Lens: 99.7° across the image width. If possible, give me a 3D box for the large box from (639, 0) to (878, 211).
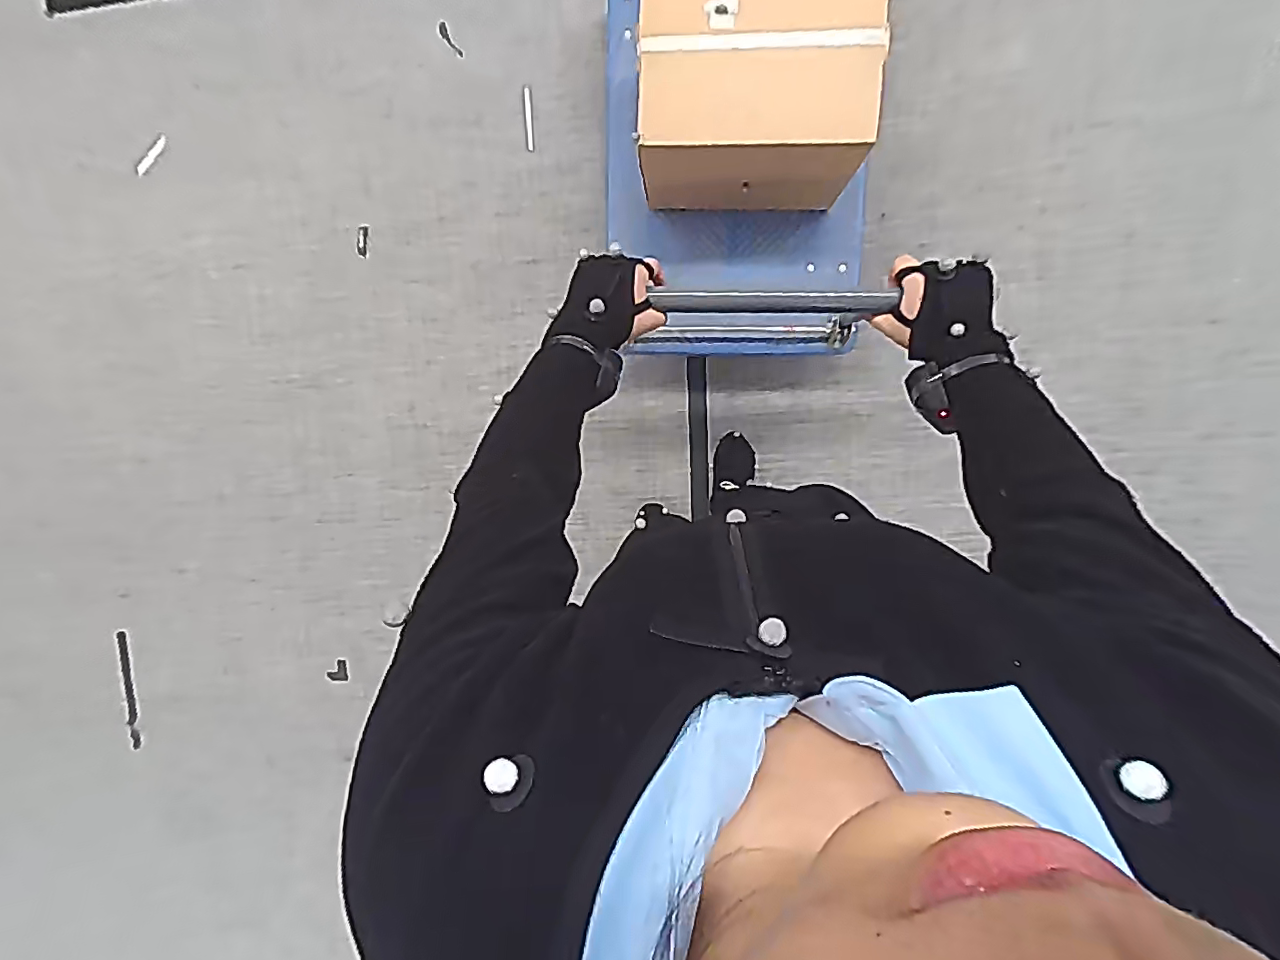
[{"bbox_3d":[0.215,-0.750,1.071,0.408,0.320,0.320,2,97,6],"label":"large box"}]
